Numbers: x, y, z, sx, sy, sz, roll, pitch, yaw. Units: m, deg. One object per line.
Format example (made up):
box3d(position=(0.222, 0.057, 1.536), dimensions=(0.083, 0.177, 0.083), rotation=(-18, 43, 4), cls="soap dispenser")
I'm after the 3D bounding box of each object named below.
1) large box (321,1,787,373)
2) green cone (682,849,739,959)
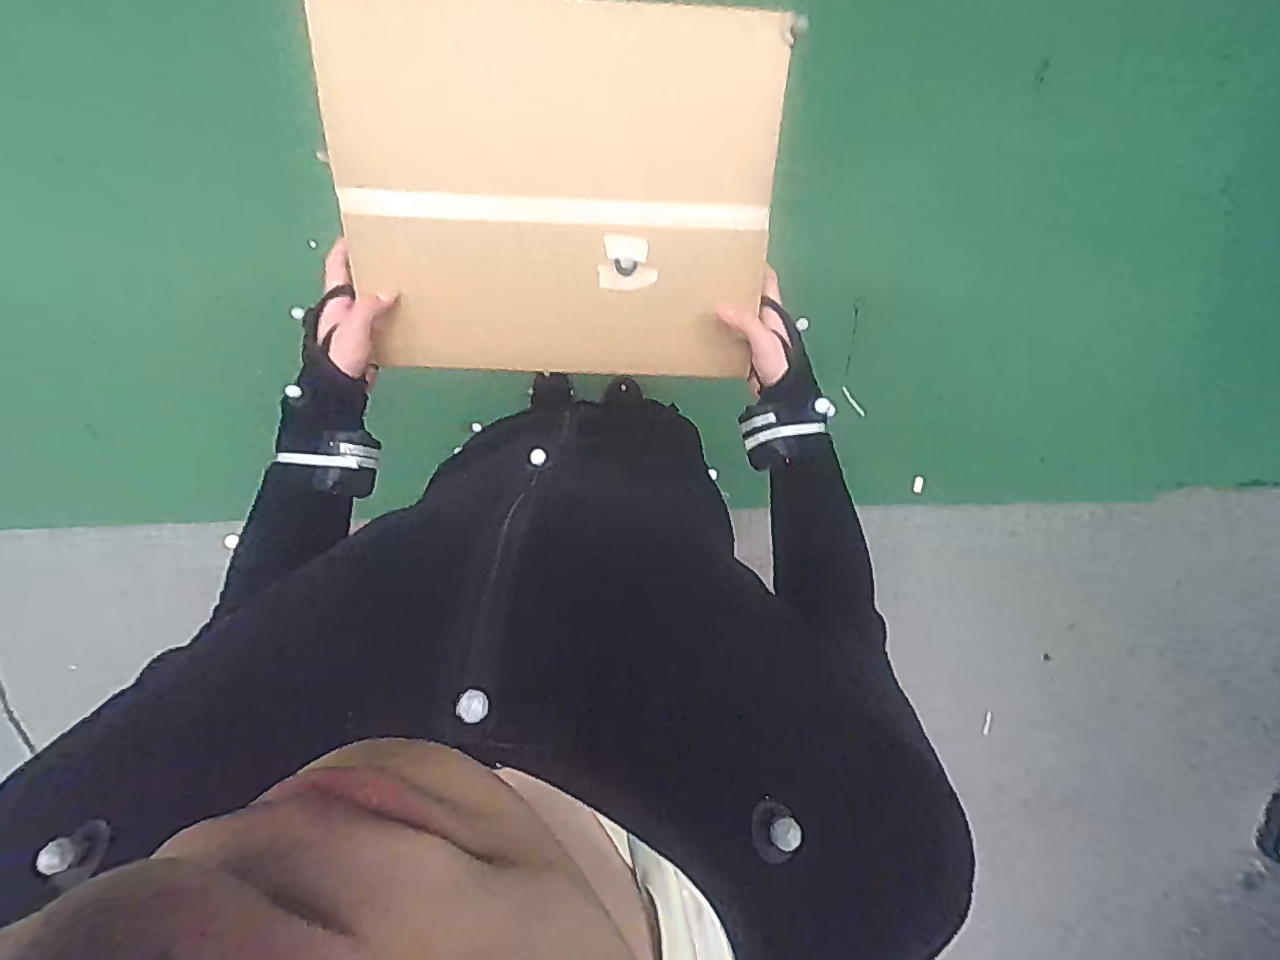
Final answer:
box3d(position=(-0.081, -0.319, 0.656), dimensions=(0.408, 0.320, 0.320), rotation=(1, 116, -3), cls="large box")
box3d(position=(0.290, 1.556, 1.929), dimensions=(0.200, 0.368, 0.202), rotation=(4, 102, -9), cls="green cone")
